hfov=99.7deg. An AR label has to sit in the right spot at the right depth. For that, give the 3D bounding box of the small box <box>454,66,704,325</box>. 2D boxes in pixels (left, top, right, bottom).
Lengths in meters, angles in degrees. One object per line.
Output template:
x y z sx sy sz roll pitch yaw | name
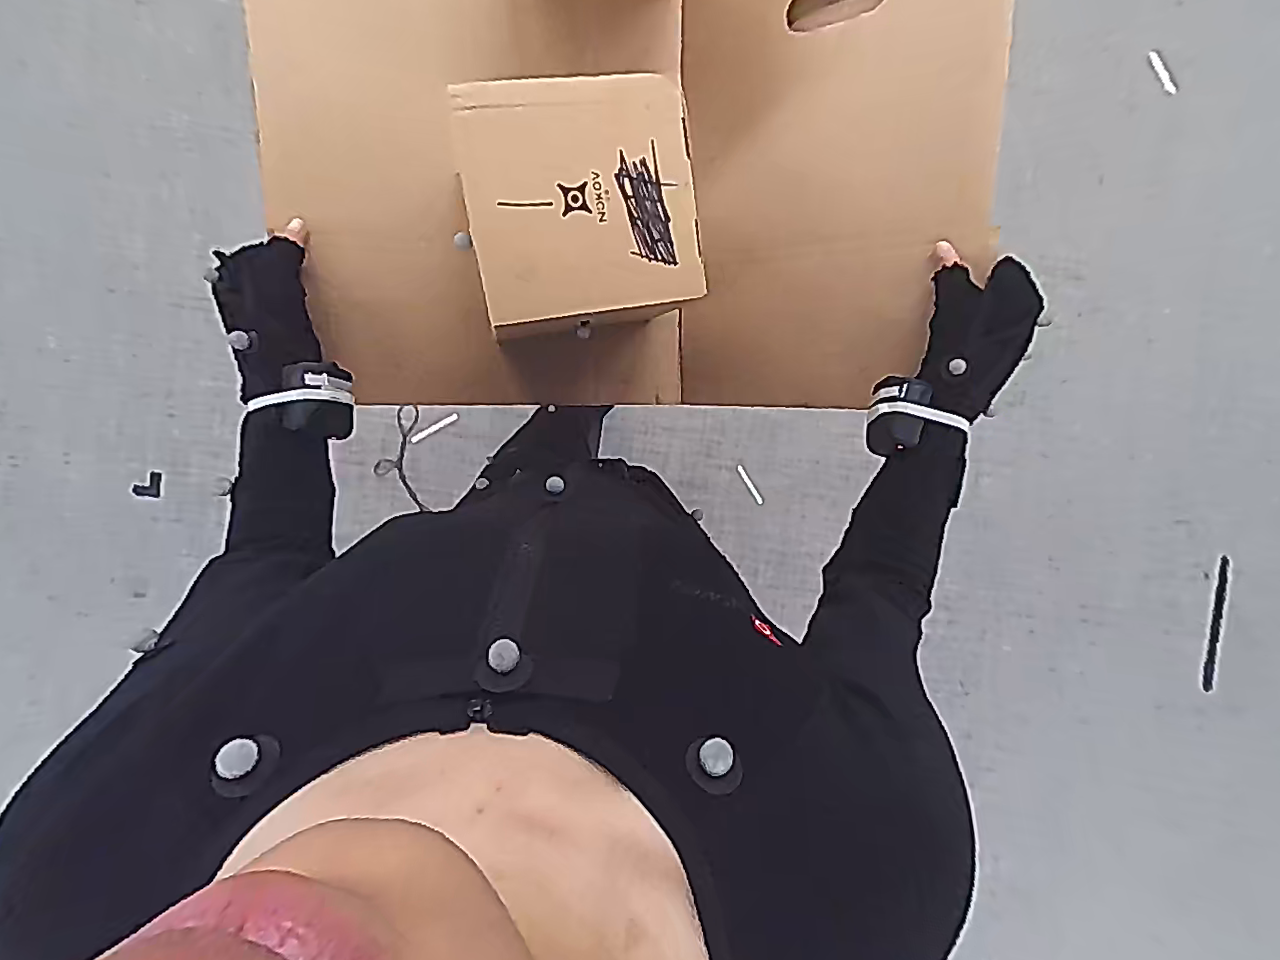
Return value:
-0.059 -0.241 0.494 0.179 0.176 0.168 -11 103 -11 | small box
